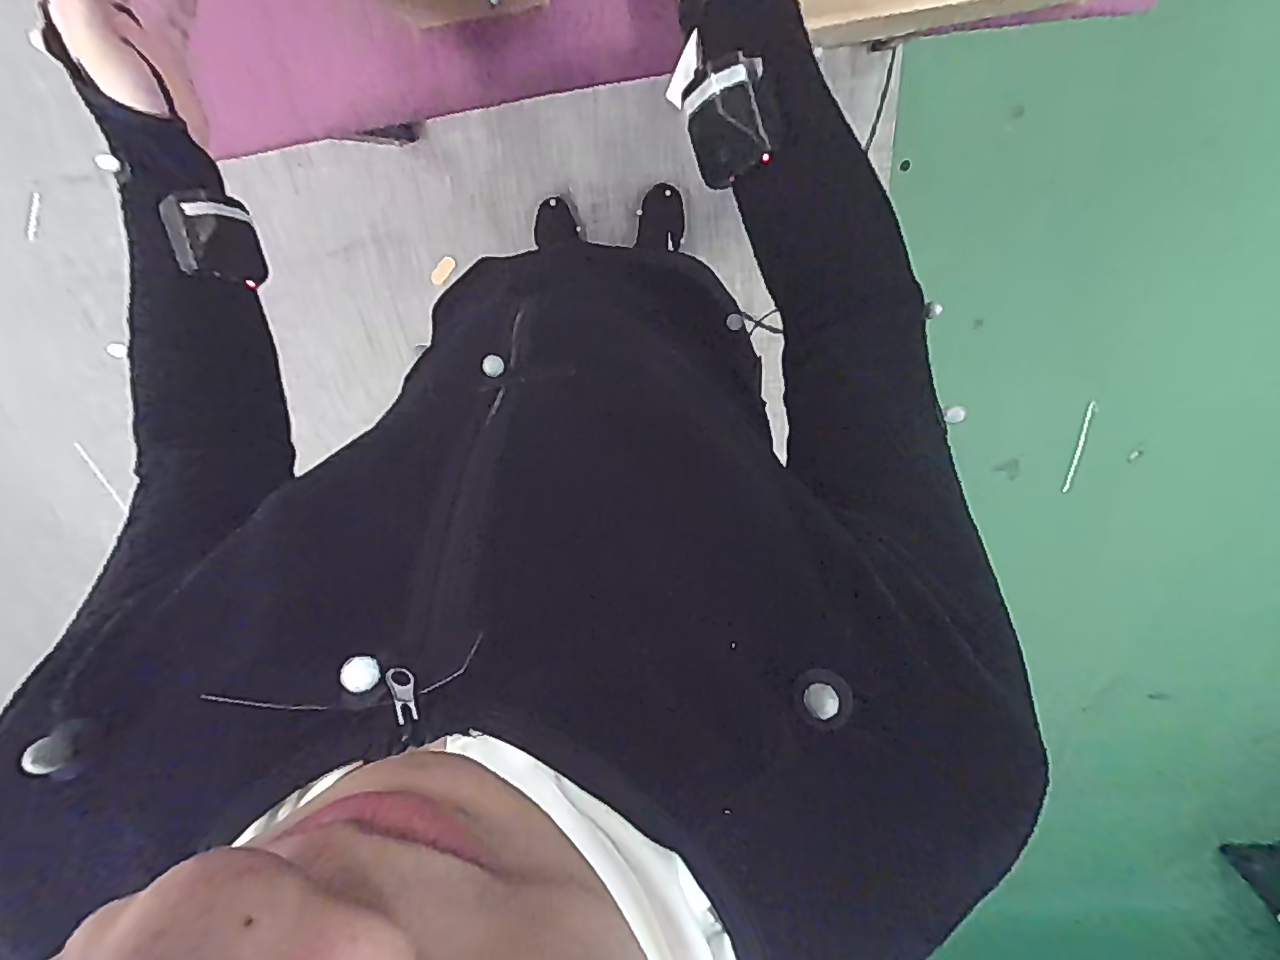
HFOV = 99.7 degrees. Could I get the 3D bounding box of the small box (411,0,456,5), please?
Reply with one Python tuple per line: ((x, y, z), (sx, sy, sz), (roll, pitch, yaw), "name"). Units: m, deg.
((-0.196, -0.586, 0.512), (0.168, 0.176, 0.179), (-6, 118, 4), "small box")
